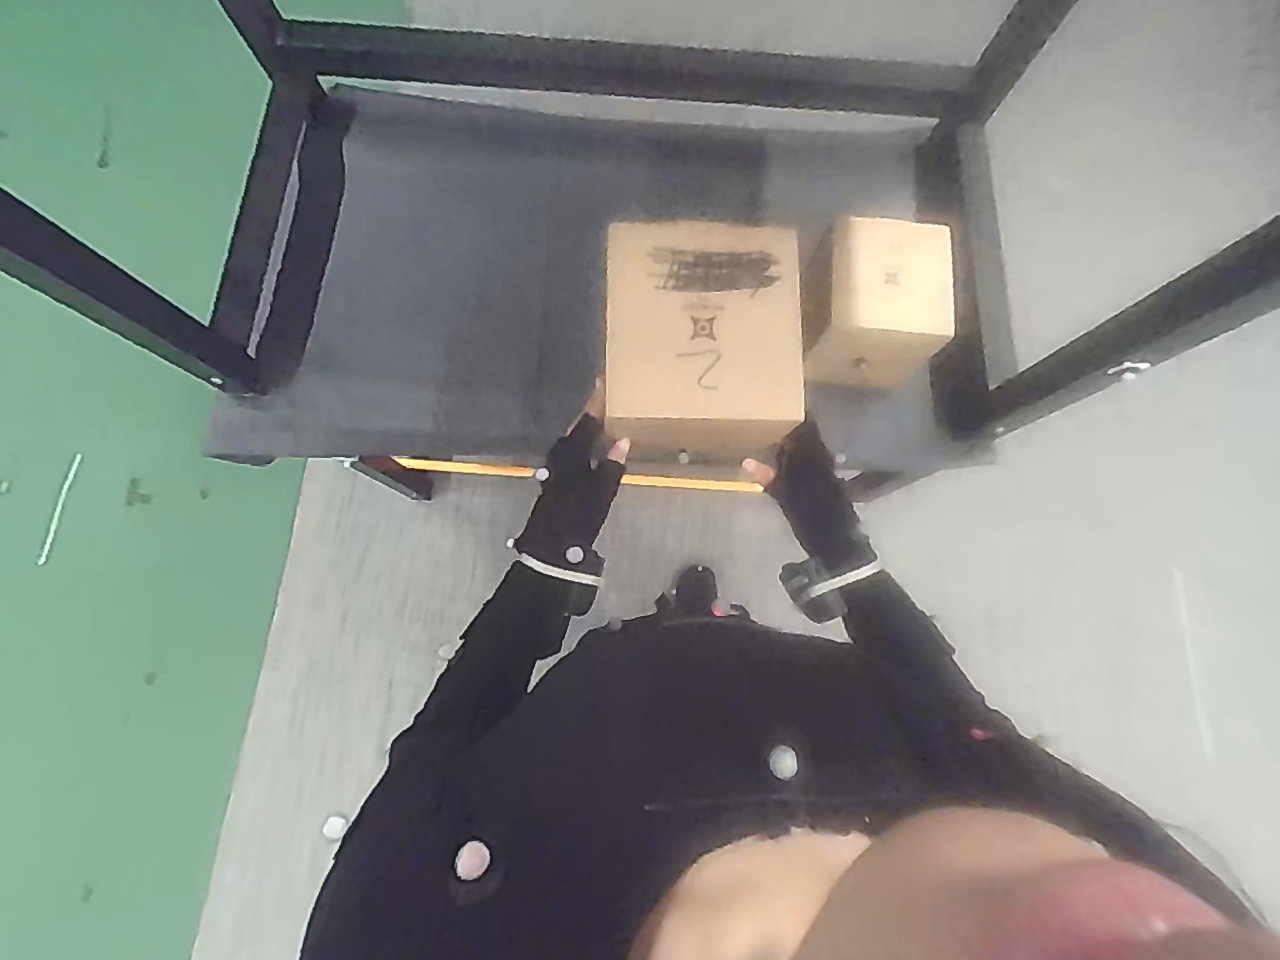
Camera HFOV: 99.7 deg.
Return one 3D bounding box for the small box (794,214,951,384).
[{"bbox_3d":[0.336,-0.260,0.808,0.168,0.176,0.179,6,75,0],"label":"small box"}]
